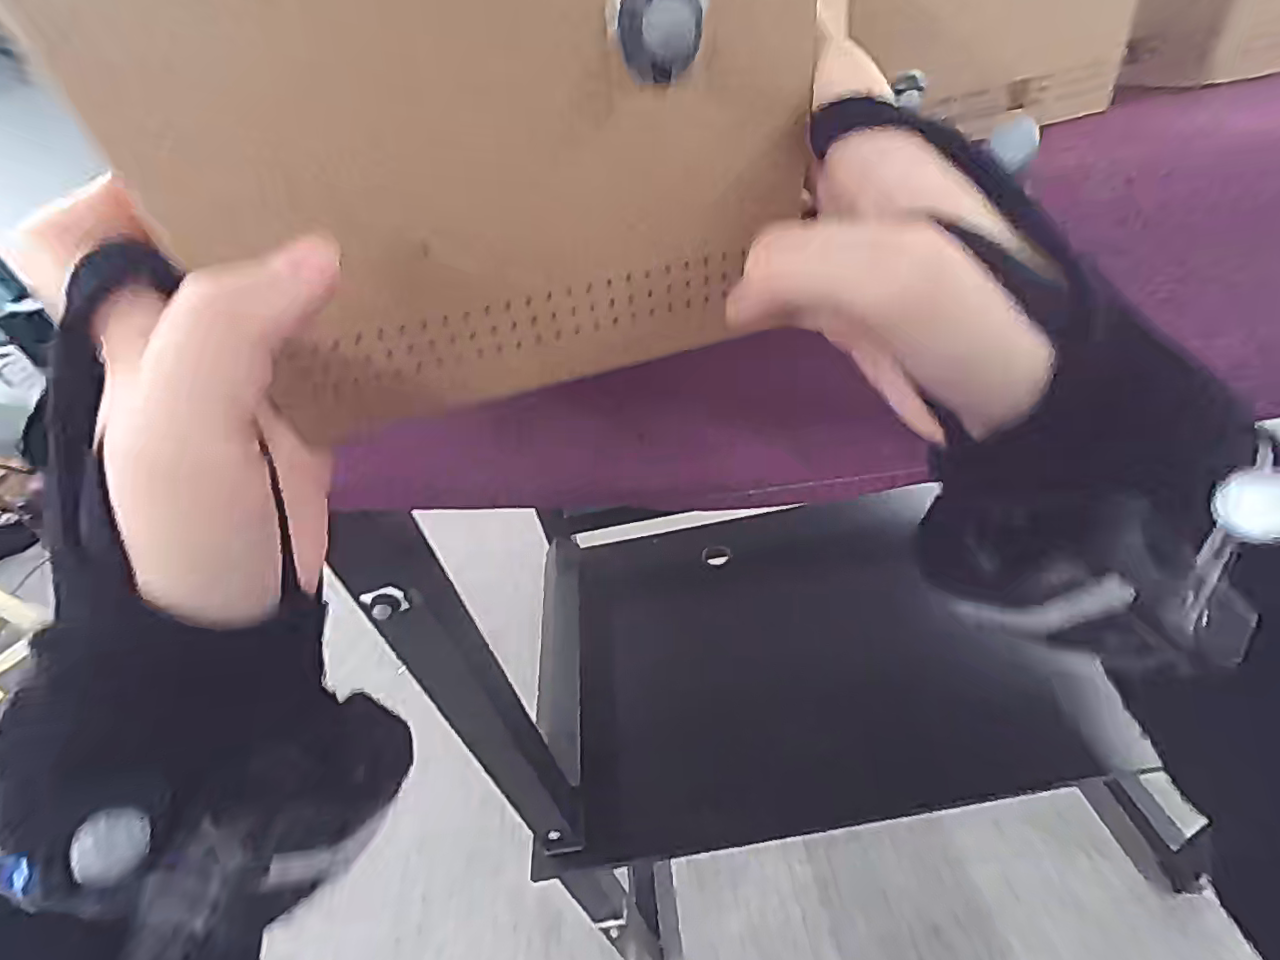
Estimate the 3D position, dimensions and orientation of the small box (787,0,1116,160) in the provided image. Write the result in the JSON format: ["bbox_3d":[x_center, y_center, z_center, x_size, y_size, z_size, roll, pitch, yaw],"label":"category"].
[{"bbox_3d":[0.165,-0.313,0.337,0.168,0.176,0.179,-14,36,-1],"label":"small box"}]

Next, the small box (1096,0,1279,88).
[{"bbox_3d":[0.393,-0.358,0.327,0.179,0.176,0.168,-9,36,4],"label":"small box"}]
